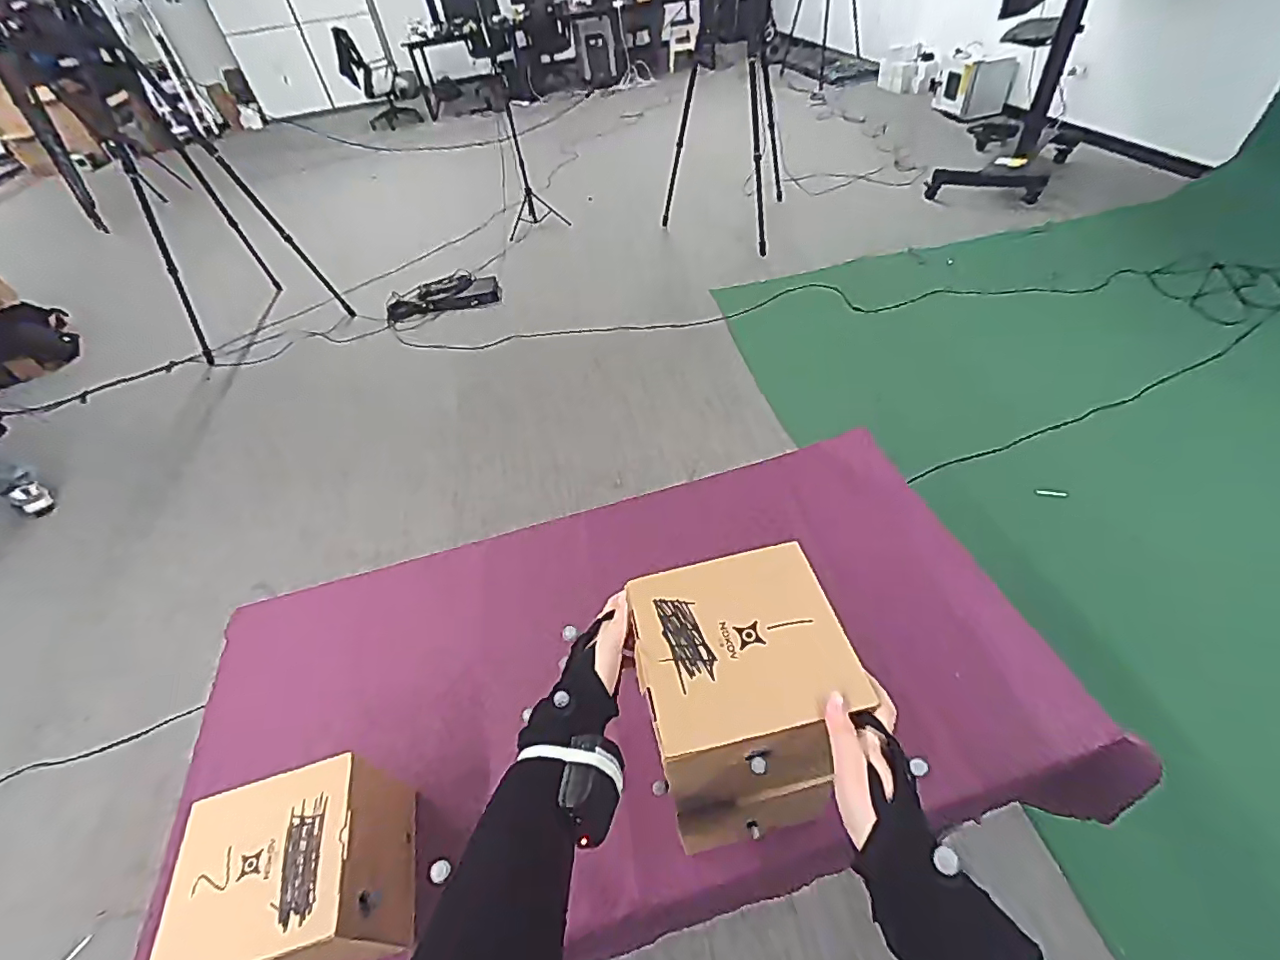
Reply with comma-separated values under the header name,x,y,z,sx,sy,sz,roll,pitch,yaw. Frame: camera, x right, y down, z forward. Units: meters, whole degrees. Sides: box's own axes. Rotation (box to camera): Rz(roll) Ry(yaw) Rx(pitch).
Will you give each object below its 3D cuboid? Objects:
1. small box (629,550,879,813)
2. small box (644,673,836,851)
name,x,y,z,sx,sy,sz,roll,pitch,yaw
small box,0.097,0.198,0.524,0.179,0.176,0.168,-12,46,-4
small box,0.109,0.315,0.640,0.168,0.176,0.179,-13,46,-4
